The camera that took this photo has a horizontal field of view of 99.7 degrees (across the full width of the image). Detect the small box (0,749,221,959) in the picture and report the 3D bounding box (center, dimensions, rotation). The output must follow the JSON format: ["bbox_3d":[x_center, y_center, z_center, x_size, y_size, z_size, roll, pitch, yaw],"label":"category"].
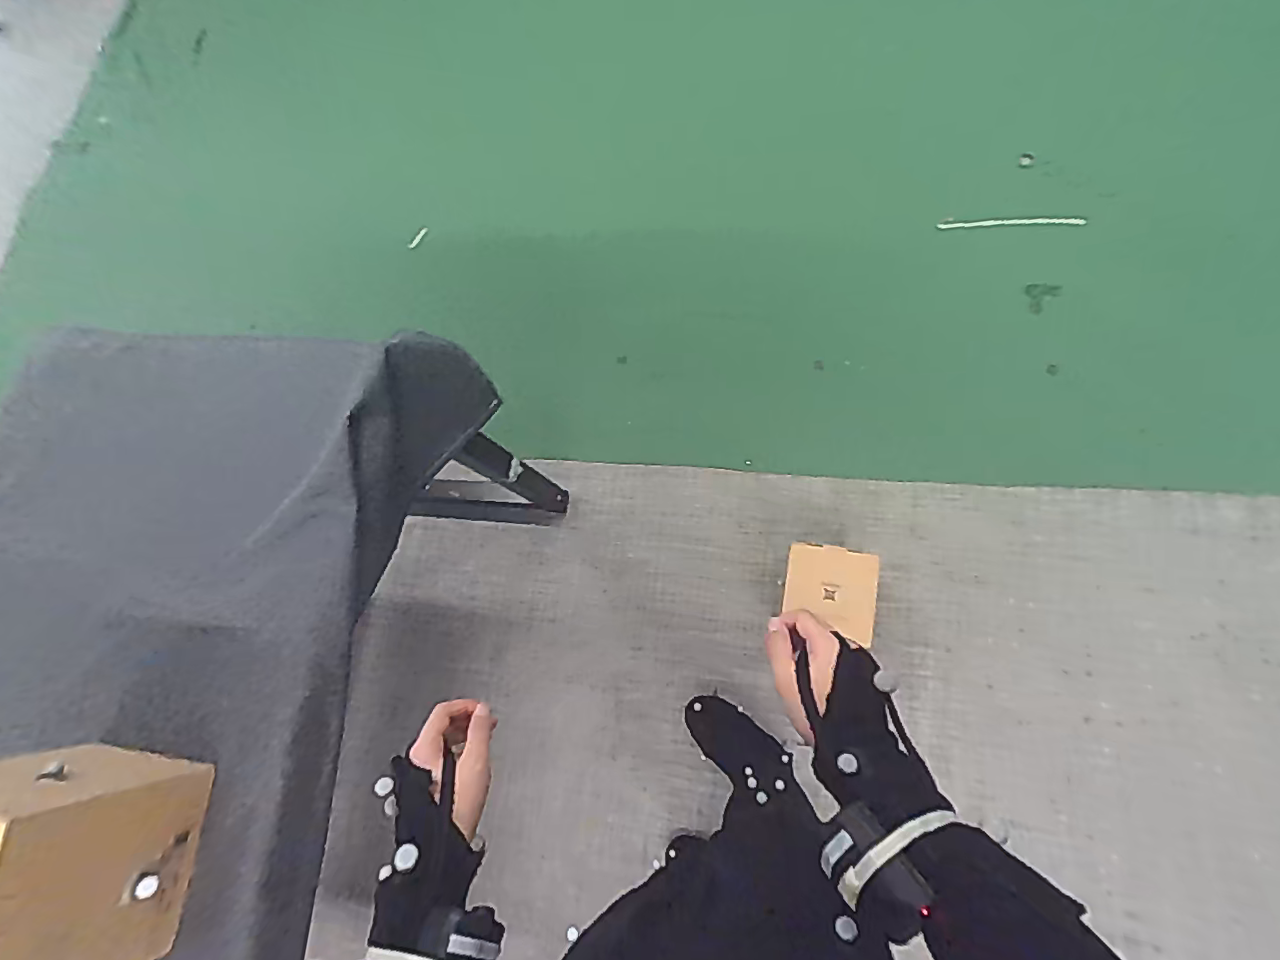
[{"bbox_3d":[-0.537,0.352,0.482,0.179,0.176,0.168,1,75,13],"label":"small box"}]

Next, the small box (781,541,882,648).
[{"bbox_3d":[0.380,0.232,1.094,0.168,0.176,0.179,7,78,15],"label":"small box"}]
